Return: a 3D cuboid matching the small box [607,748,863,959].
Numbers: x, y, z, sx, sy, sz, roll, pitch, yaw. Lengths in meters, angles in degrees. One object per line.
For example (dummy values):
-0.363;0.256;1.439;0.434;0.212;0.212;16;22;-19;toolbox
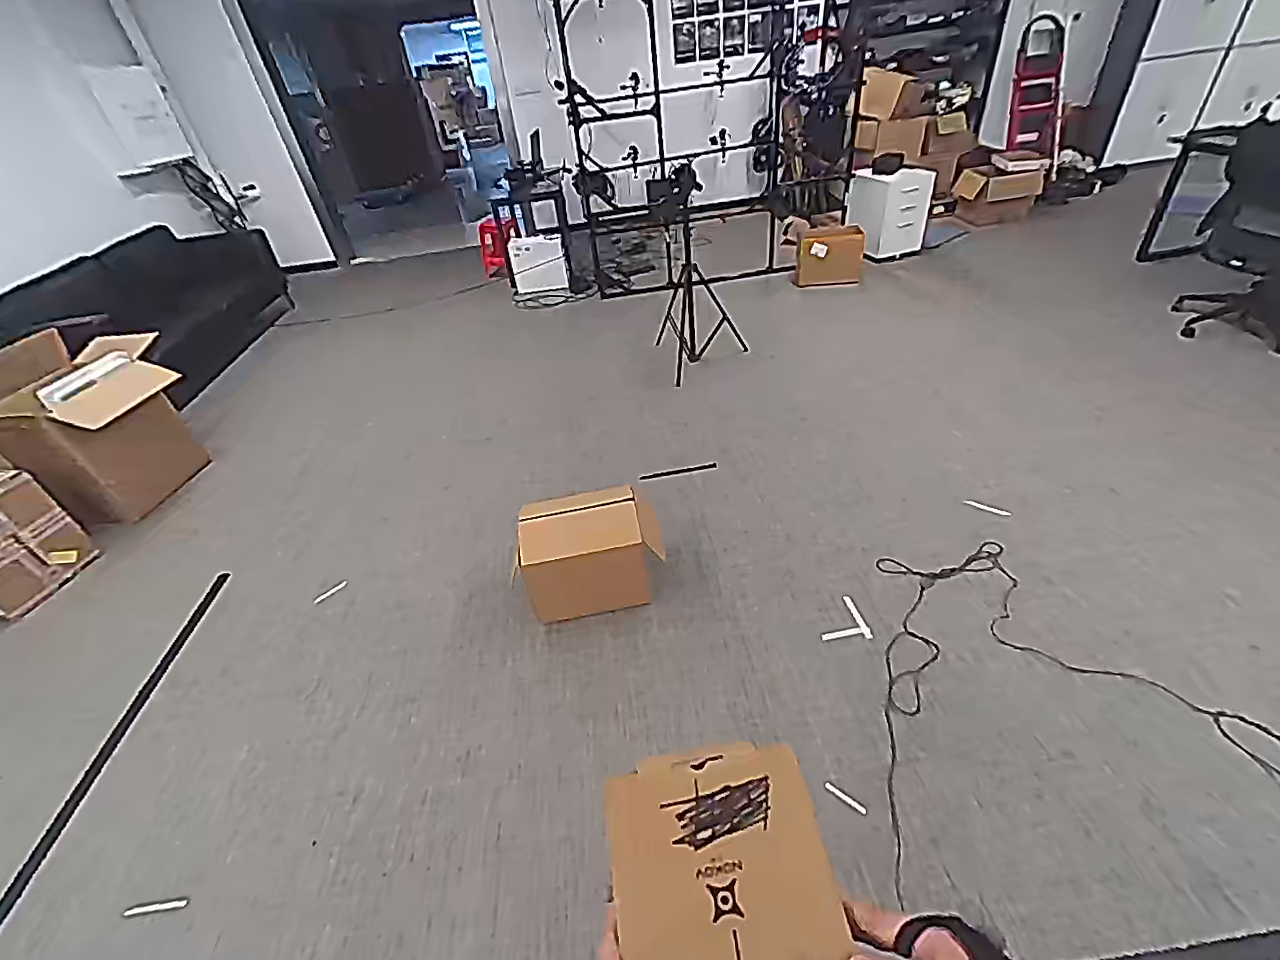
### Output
0.067;0.354;0.456;0.168;0.176;0.179;-9;50;-4;small box
